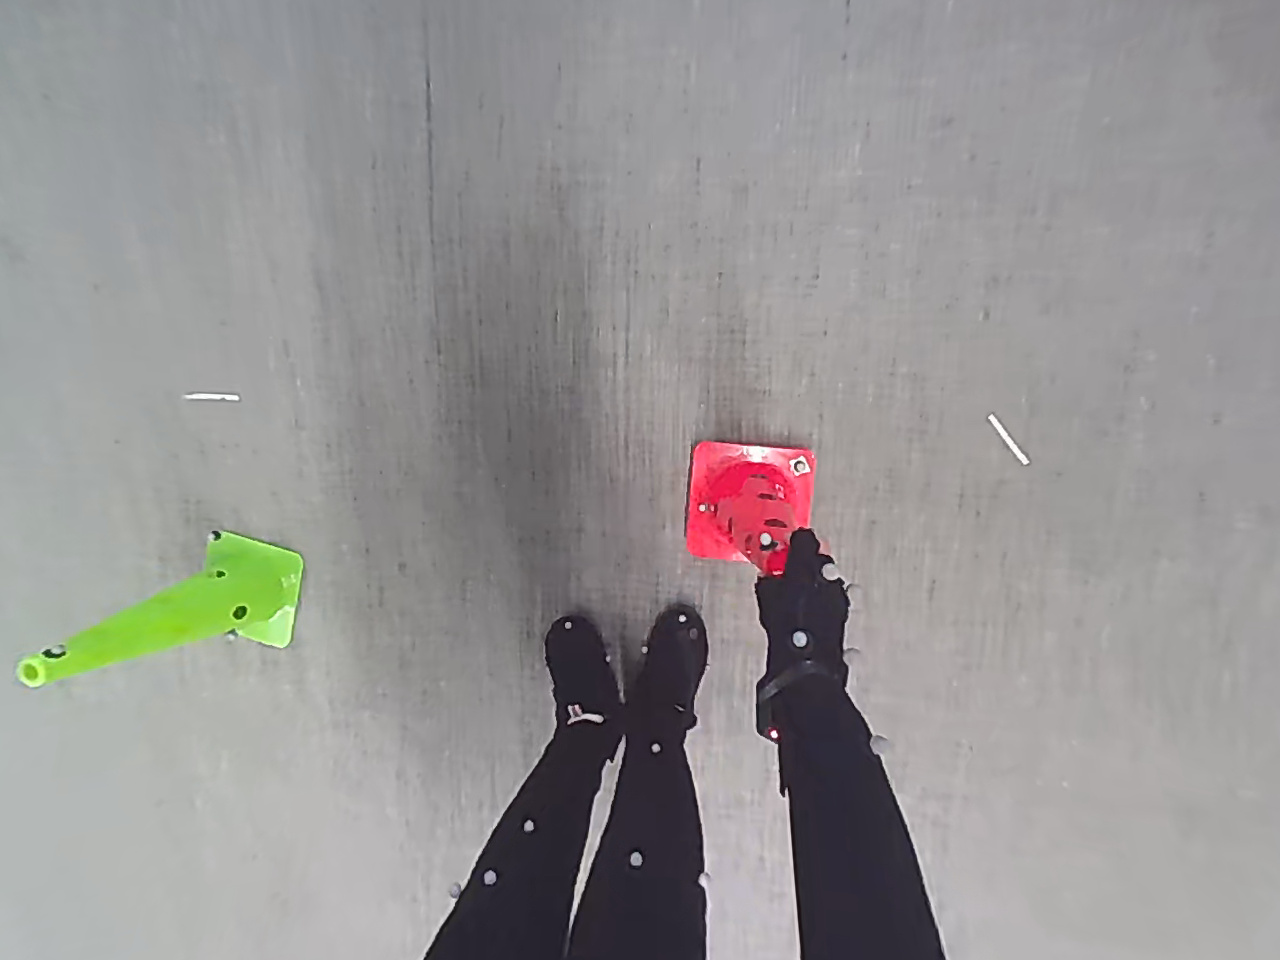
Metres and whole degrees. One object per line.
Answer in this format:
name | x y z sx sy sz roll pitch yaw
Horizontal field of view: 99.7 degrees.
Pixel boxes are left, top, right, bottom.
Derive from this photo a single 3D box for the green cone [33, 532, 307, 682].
green cone | -0.780 0.235 0.899 0.202 0.368 0.200 14 98 4
